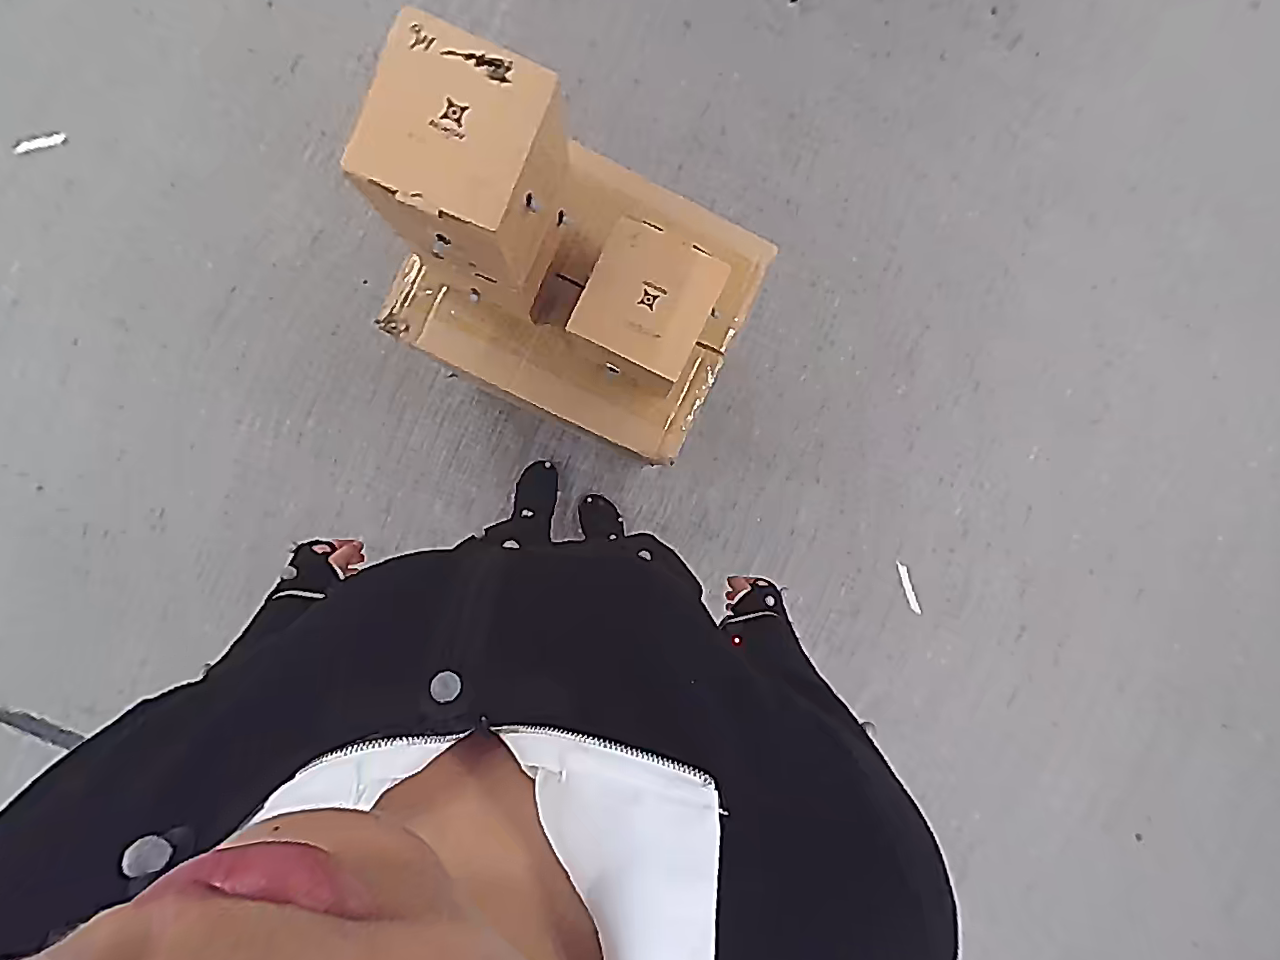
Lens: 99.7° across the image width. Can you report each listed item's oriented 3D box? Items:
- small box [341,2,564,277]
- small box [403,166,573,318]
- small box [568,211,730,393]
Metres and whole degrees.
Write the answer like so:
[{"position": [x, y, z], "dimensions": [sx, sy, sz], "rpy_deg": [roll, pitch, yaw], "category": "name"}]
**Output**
[{"position": [-0.193, -0.360, 0.614], "dimensions": [0.168, 0.176, 0.179], "rpy_deg": [22, 91, -5], "category": "small box"}, {"position": [-0.204, -0.362, 0.777], "dimensions": [0.168, 0.176, 0.179], "rpy_deg": [24, 90, -5], "category": "small box"}, {"position": [0.010, -0.246, 0.794], "dimensions": [0.168, 0.176, 0.179], "rpy_deg": [25, 91, -1], "category": "small box"}]
